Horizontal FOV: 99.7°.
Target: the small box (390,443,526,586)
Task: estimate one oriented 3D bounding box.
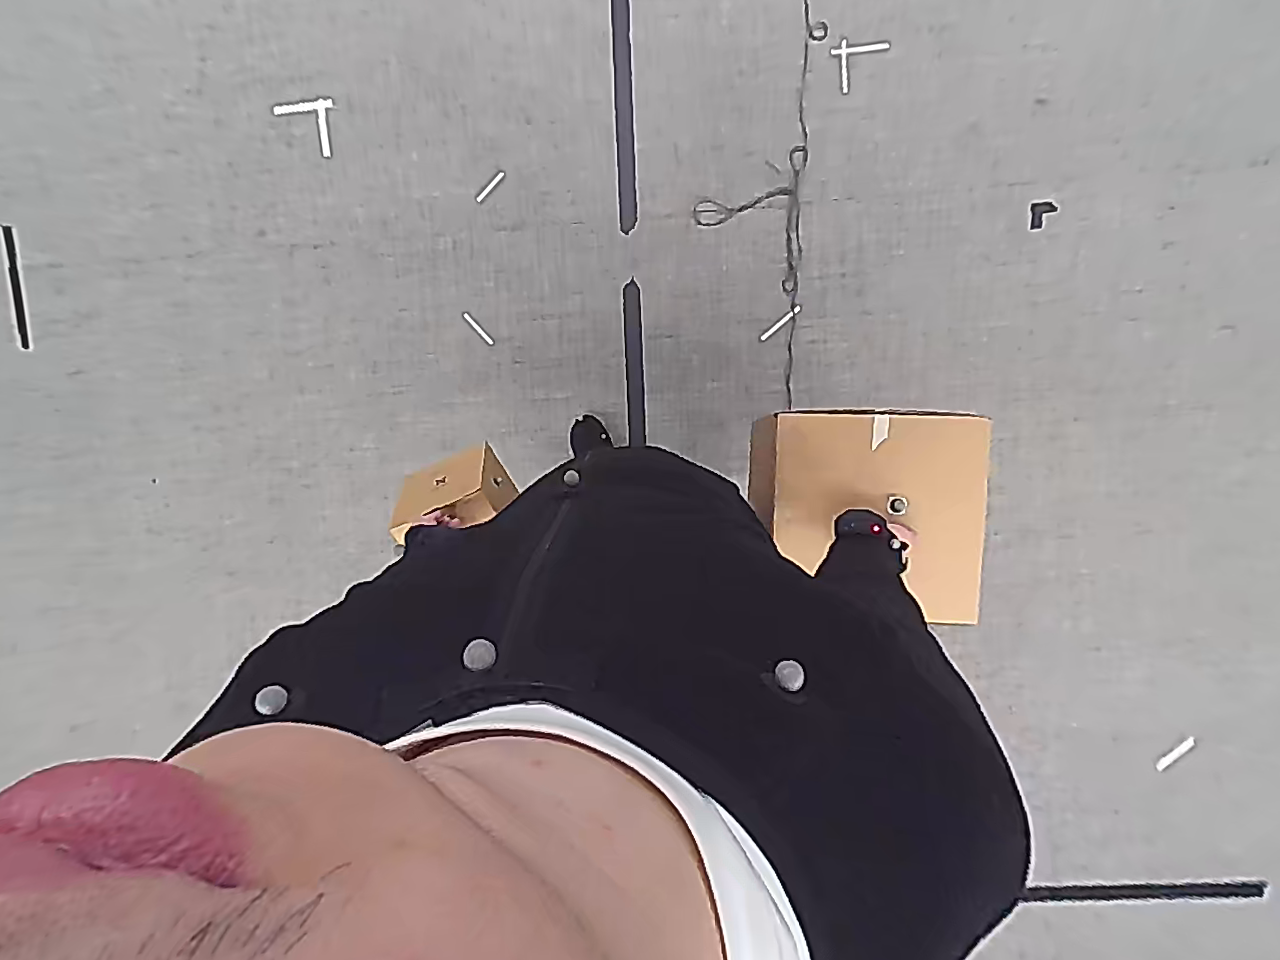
[{"bbox_3d":[-0.316,0.069,0.979,0.168,0.179,0.176,-23,124,2],"label":"small box"}]
